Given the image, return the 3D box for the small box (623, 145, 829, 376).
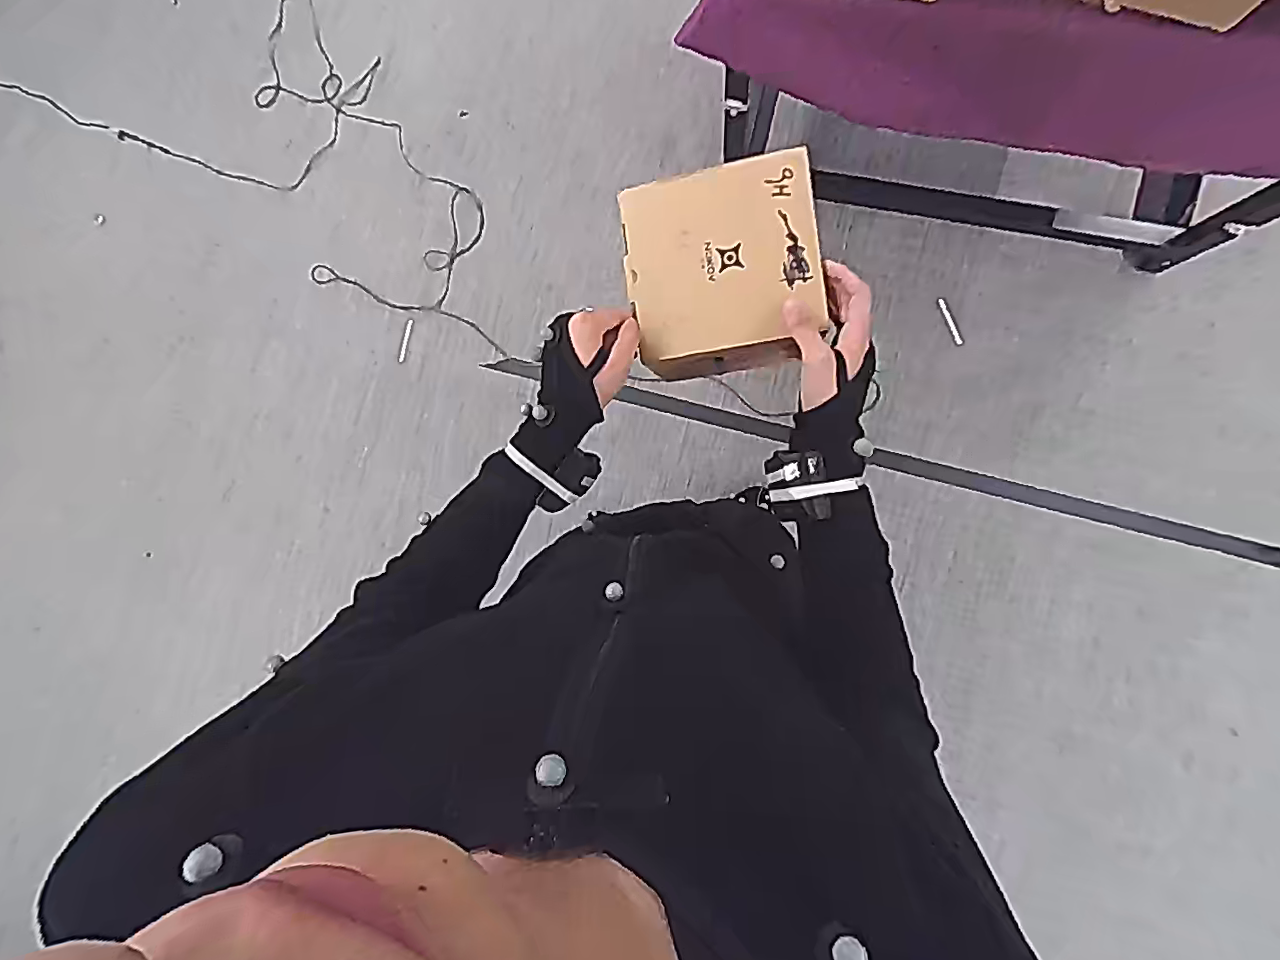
[{"bbox_3d":[0.093,-0.212,0.576,0.179,0.176,0.168,-7,93,12],"label":"small box"}]
